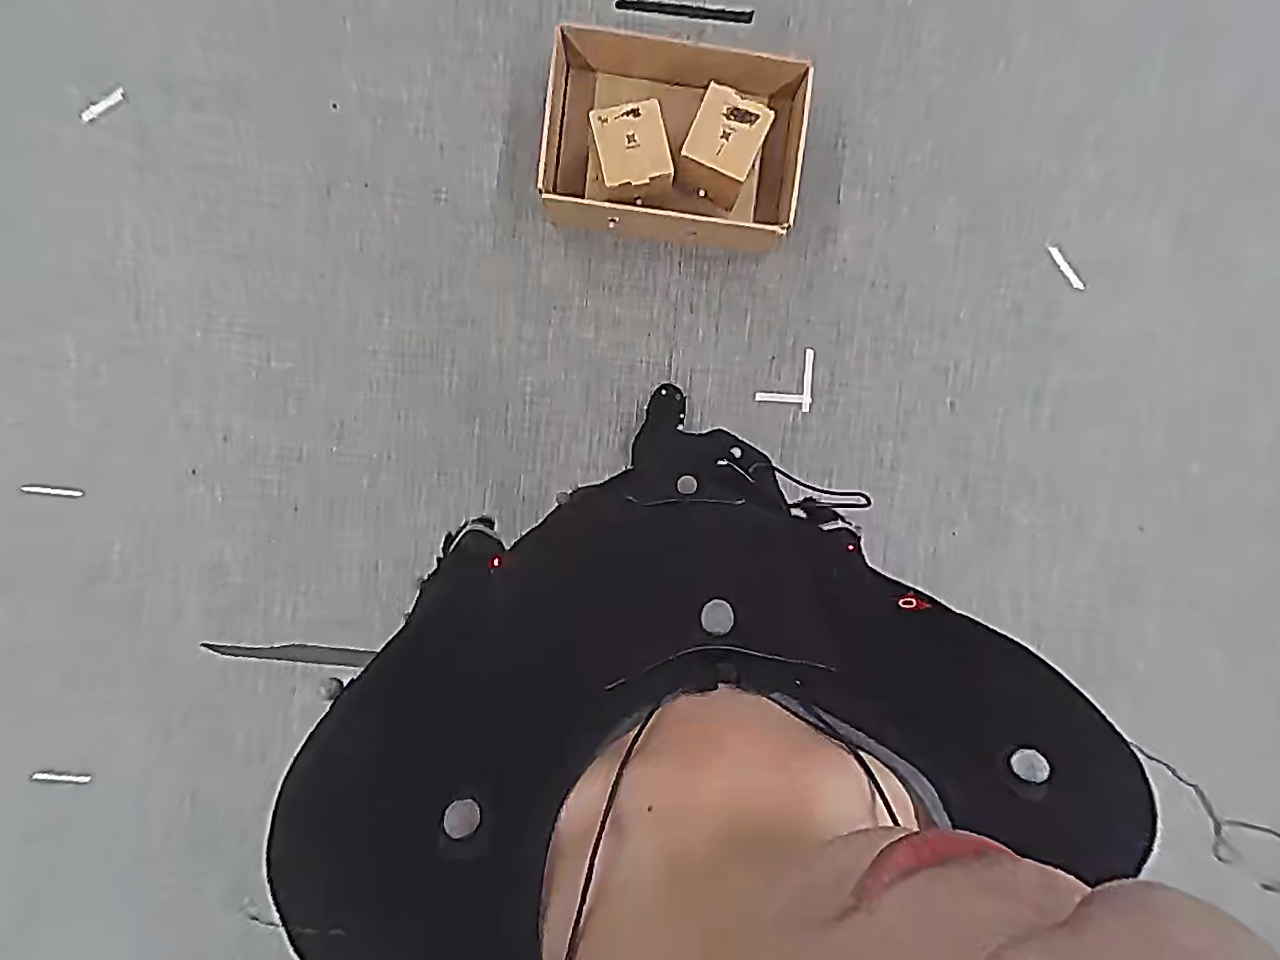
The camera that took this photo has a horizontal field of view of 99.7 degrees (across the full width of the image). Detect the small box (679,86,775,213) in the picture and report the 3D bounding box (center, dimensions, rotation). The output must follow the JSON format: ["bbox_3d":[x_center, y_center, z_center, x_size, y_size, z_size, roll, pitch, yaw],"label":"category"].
[{"bbox_3d":[0.204,-0.800,1.327,0.168,0.176,0.179,24,94,-2],"label":"small box"}]
